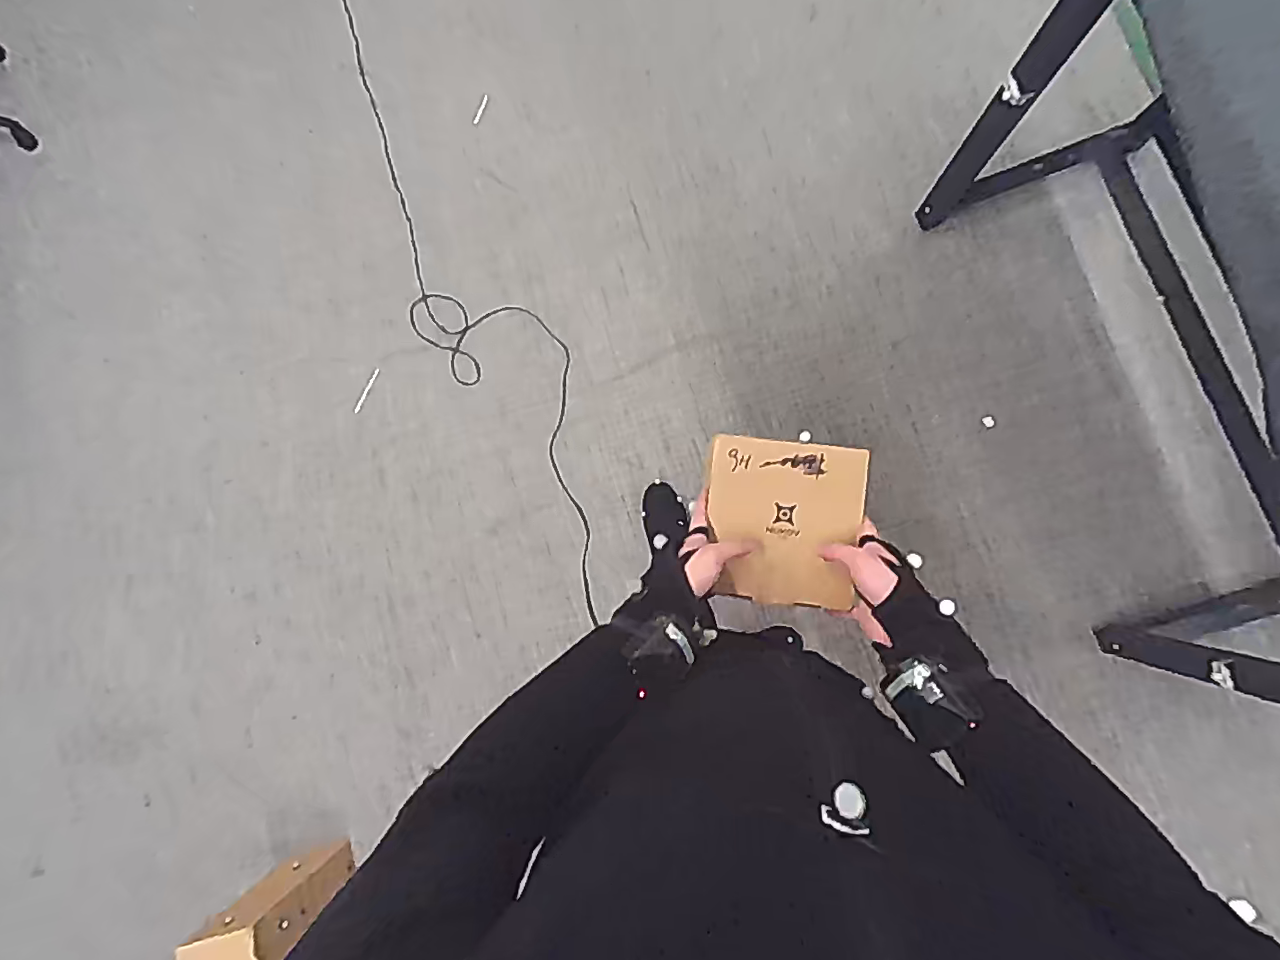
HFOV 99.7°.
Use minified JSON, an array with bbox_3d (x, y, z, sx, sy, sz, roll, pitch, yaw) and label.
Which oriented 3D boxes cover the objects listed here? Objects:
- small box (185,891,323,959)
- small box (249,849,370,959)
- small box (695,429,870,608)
[{"bbox_3d":[-0.828,1.046,1.179,0.179,0.176,0.168,-20,82,5],"label":"small box"},{"bbox_3d":[-0.812,1.061,1.340,0.179,0.176,0.168,-18,83,4],"label":"small box"},{"bbox_3d":[0.157,0.038,0.650,0.168,0.176,0.179,6,92,5],"label":"small box"}]
